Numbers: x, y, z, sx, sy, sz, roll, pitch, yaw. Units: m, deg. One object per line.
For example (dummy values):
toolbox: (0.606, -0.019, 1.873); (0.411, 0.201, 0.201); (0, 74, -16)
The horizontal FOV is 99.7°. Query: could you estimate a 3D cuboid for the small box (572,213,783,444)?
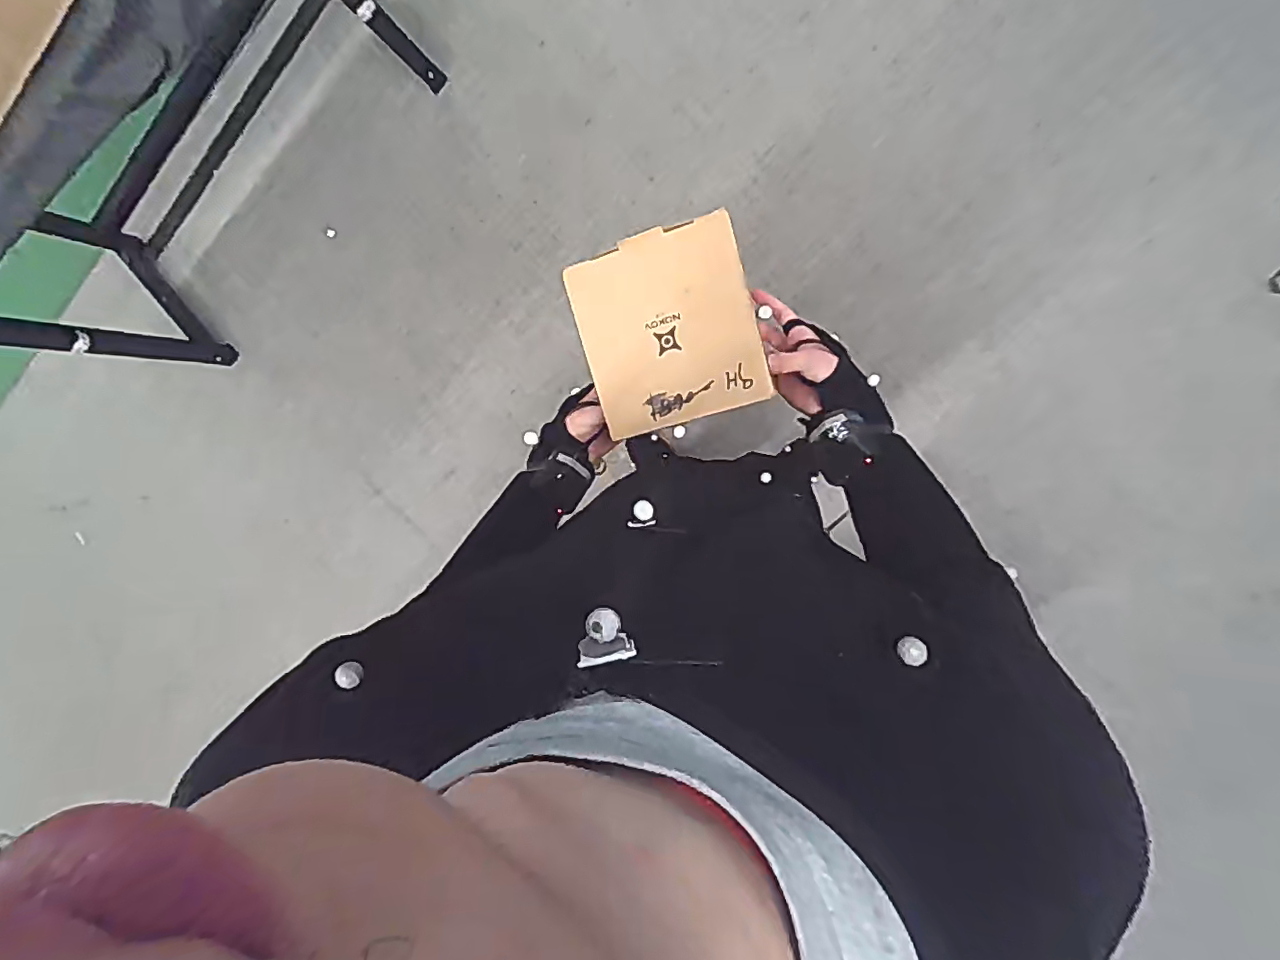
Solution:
small box: (0.050, -0.150, 0.585); (0.168, 0.176, 0.179); (-16, 97, 17)
